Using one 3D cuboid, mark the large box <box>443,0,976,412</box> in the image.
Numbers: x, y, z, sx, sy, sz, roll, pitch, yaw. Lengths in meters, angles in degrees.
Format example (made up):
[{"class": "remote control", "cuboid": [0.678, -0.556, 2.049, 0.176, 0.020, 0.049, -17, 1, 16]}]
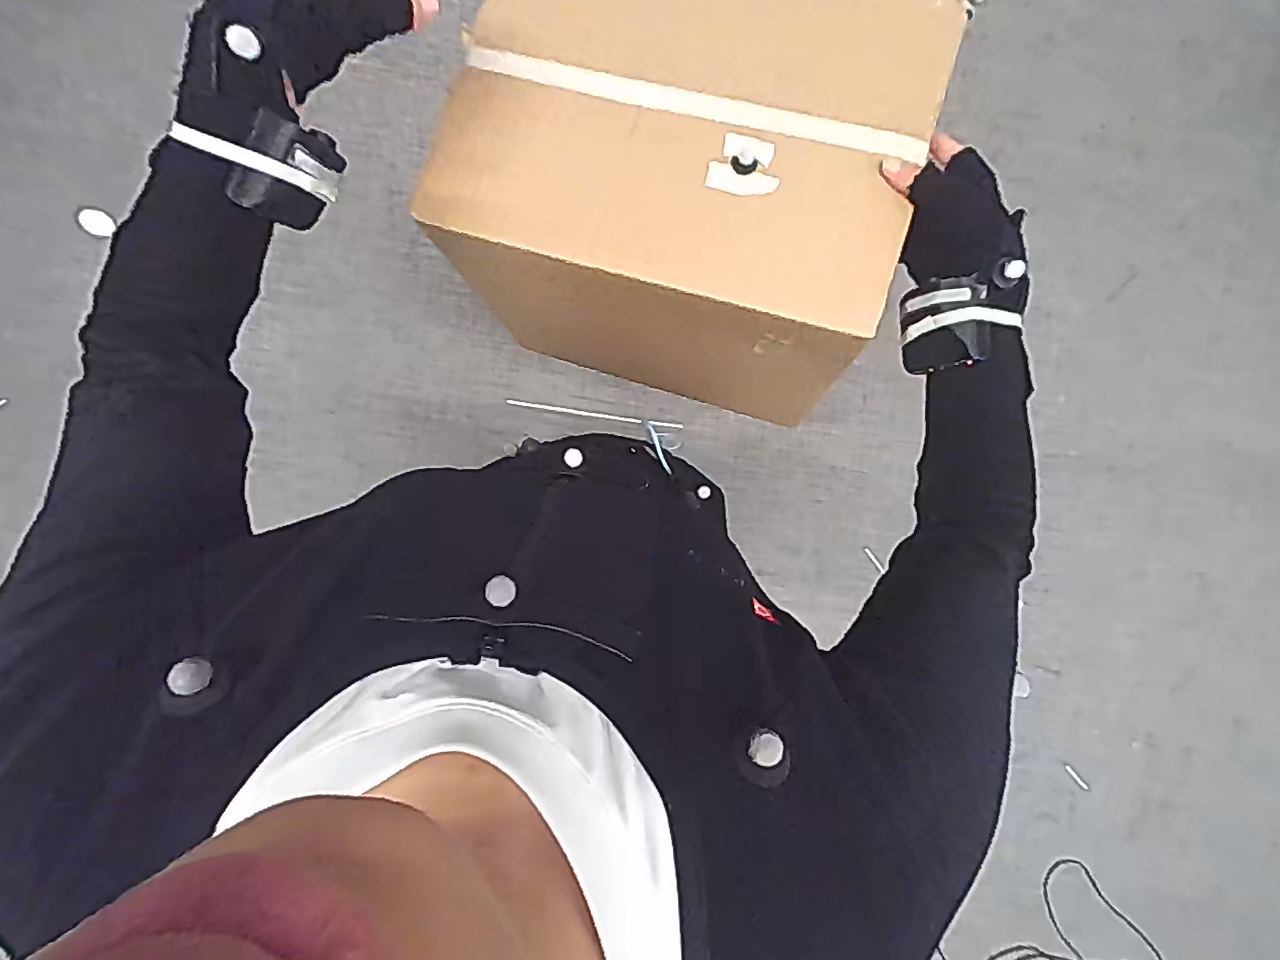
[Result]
[{"class": "large box", "cuboid": [0.067, -0.308, 0.619, 0.408, 0.320, 0.320, 18, 86, 8]}]
